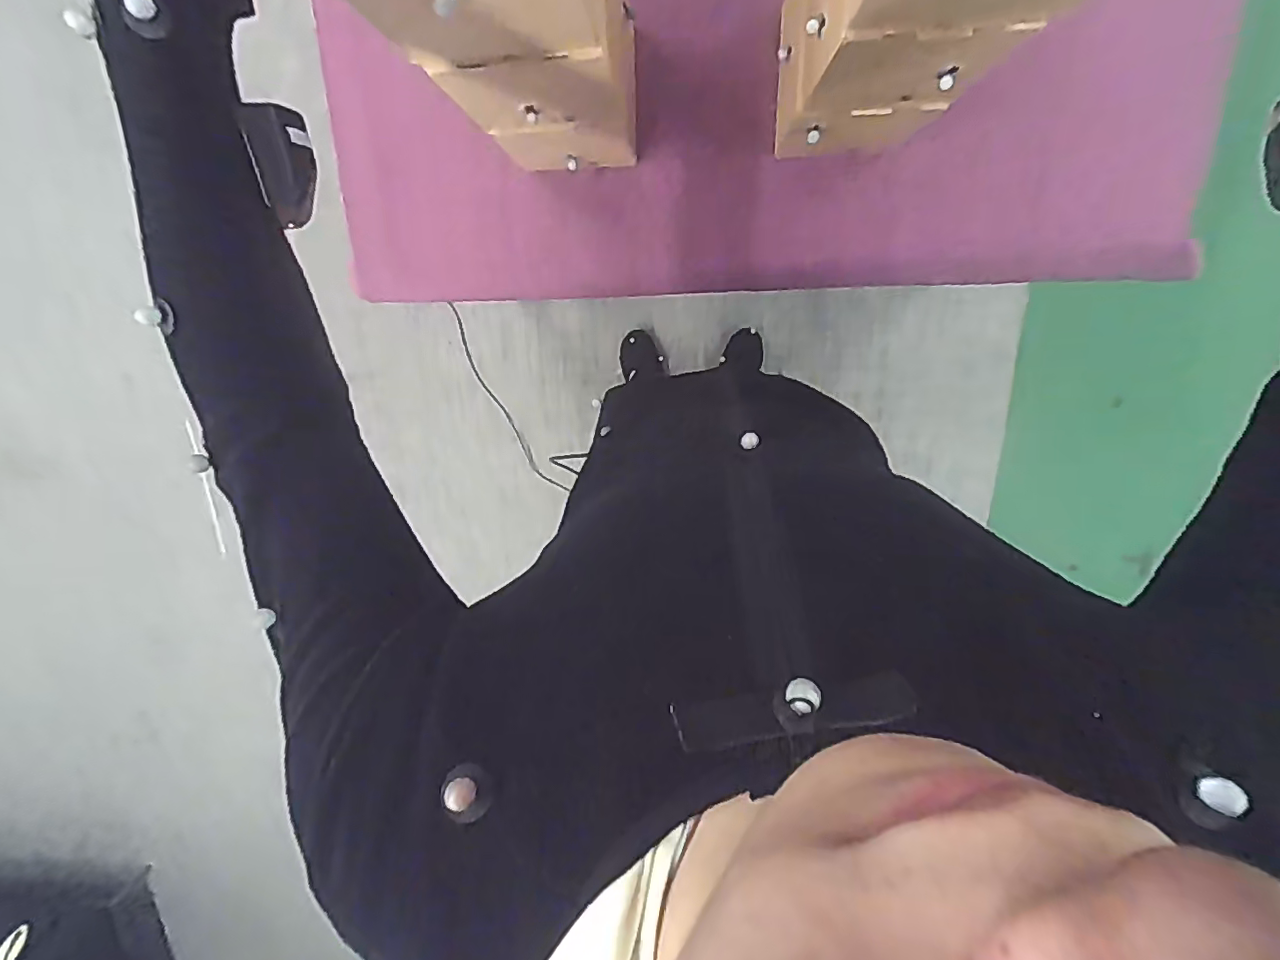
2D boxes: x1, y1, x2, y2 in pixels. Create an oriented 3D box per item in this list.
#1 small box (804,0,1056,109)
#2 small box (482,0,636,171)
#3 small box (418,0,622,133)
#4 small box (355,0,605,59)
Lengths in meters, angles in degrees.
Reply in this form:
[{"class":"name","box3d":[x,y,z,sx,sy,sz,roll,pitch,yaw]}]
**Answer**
[{"class":"small box","box3d":[0.251,-0.460,0.488,0.168,0.176,0.179,0,106,4]},{"class":"small box","box3d":[-0.096,-0.507,0.676,0.168,0.176,0.179,1,107,5]},{"class":"small box","box3d":[-0.109,-0.463,0.520,0.168,0.176,0.179,-1,107,5]},{"class":"small box","box3d":[-0.126,-0.418,0.363,0.179,0.176,0.168,-1,107,6]}]
